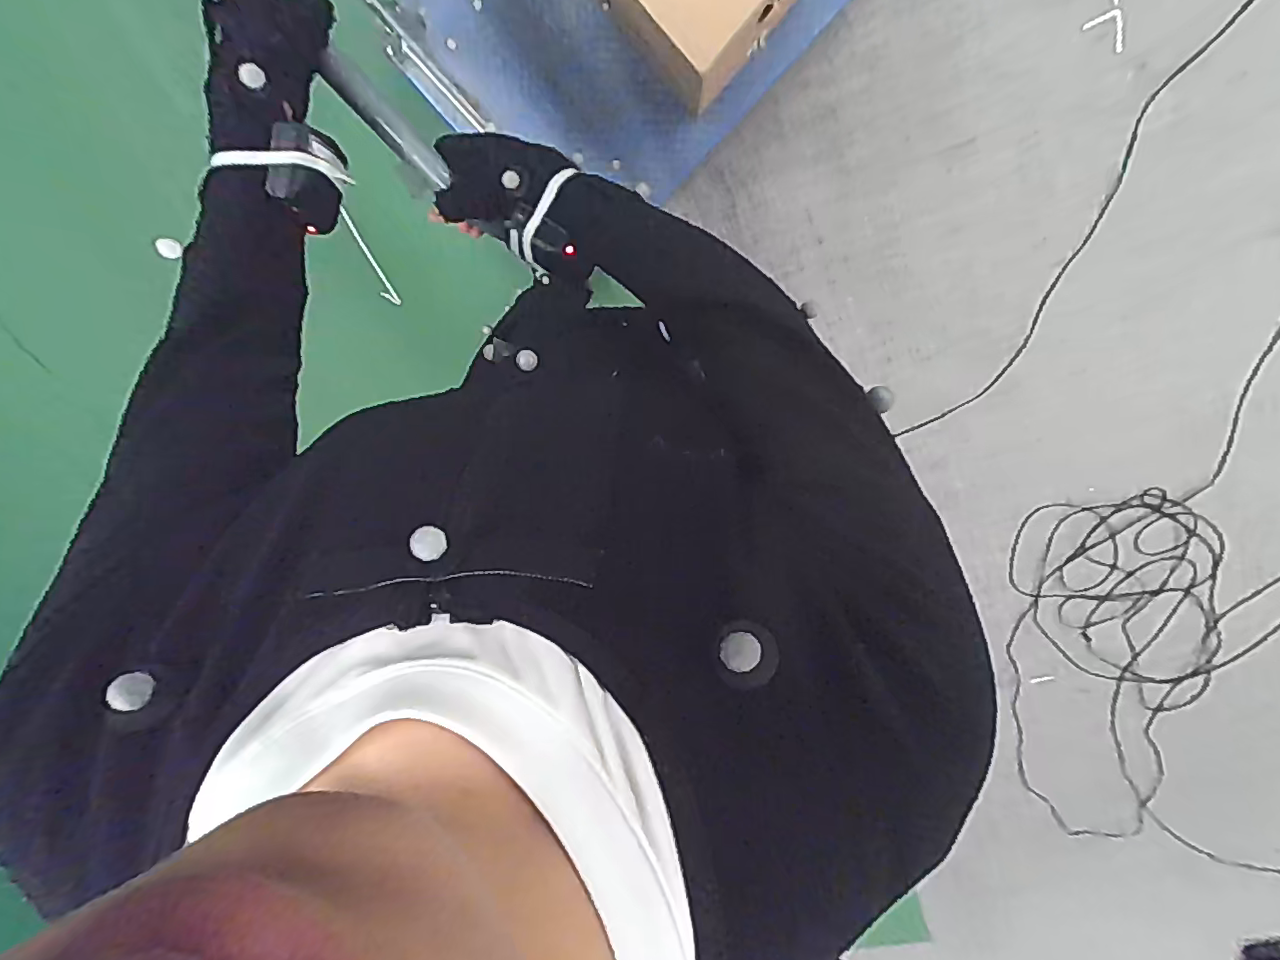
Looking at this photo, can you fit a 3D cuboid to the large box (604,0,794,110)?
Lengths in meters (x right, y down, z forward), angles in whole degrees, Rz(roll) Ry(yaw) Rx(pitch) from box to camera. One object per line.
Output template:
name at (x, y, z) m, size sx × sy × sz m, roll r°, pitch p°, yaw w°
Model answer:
large box at (0.066, -0.861, 0.799) m, size 0.408 × 0.320 × 0.320 m, roll 42°, pitch 111°, yaw -13°
